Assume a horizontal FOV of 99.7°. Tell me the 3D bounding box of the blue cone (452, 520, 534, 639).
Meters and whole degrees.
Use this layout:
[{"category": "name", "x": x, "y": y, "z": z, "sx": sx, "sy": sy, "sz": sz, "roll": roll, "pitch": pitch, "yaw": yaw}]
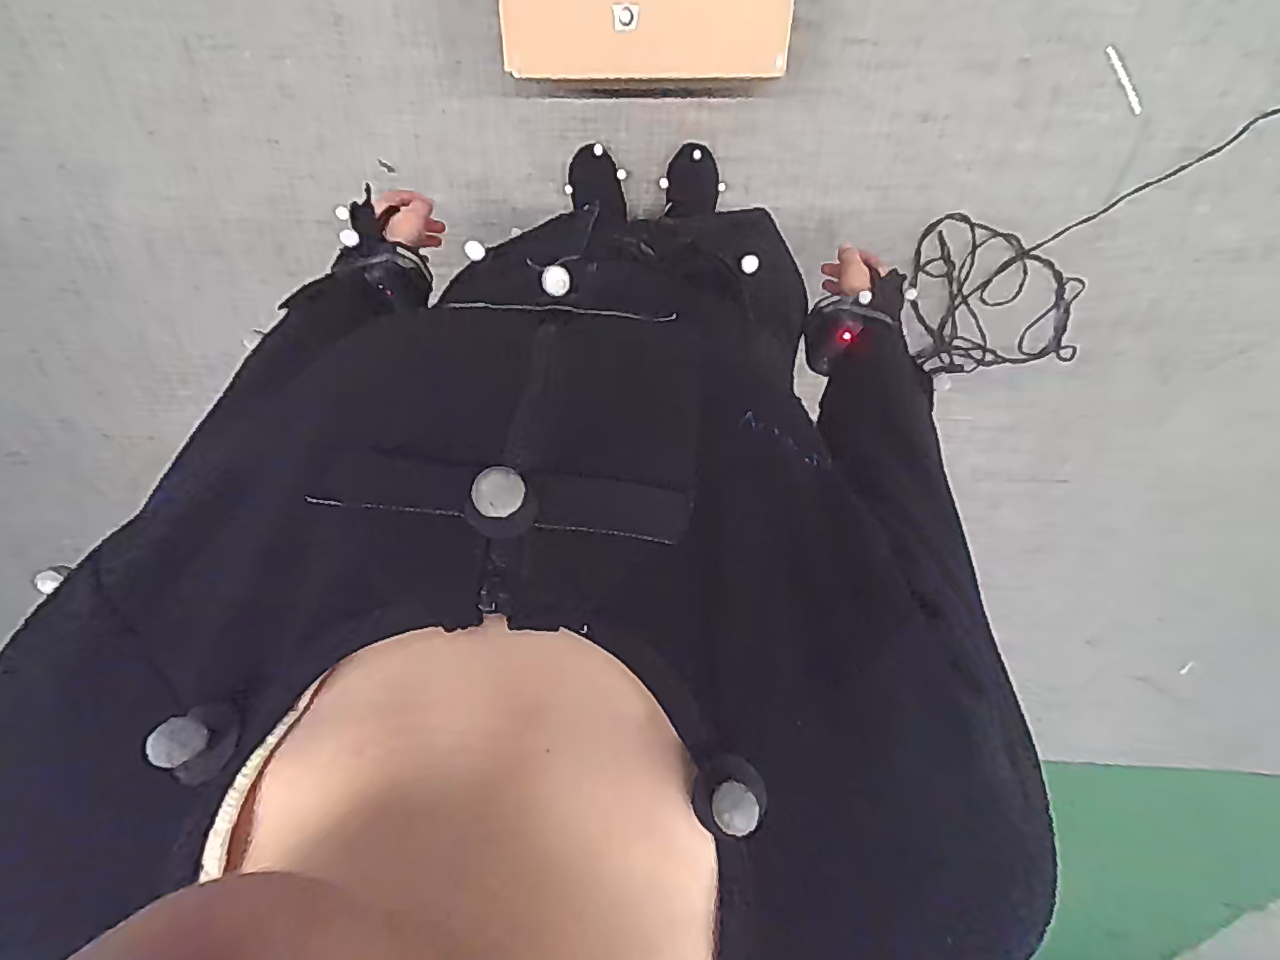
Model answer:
[{"category": "blue cone", "x": -0.432, "y": 0.288, "z": 1.513, "sx": 0.192, "sy": 0.380, "sz": 0.193, "roll": 3, "pitch": 122, "yaw": 2}]
